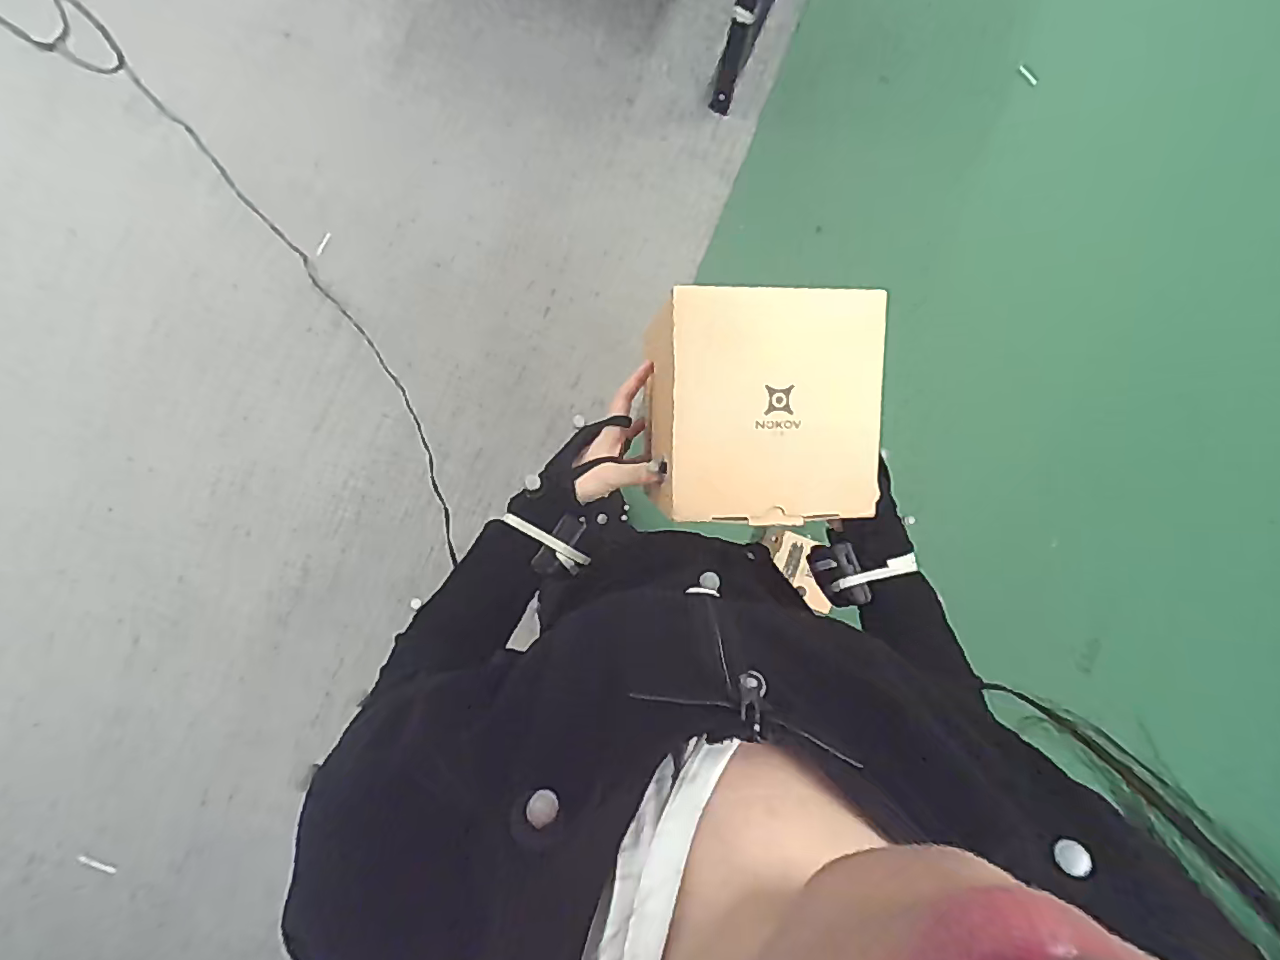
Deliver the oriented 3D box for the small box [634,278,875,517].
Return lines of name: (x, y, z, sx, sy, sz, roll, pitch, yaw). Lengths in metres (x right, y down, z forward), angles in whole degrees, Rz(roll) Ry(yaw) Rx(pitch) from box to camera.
small box: (0.086, -0.068, 0.484, 0.168, 0.176, 0.179, -2, 97, -8)
